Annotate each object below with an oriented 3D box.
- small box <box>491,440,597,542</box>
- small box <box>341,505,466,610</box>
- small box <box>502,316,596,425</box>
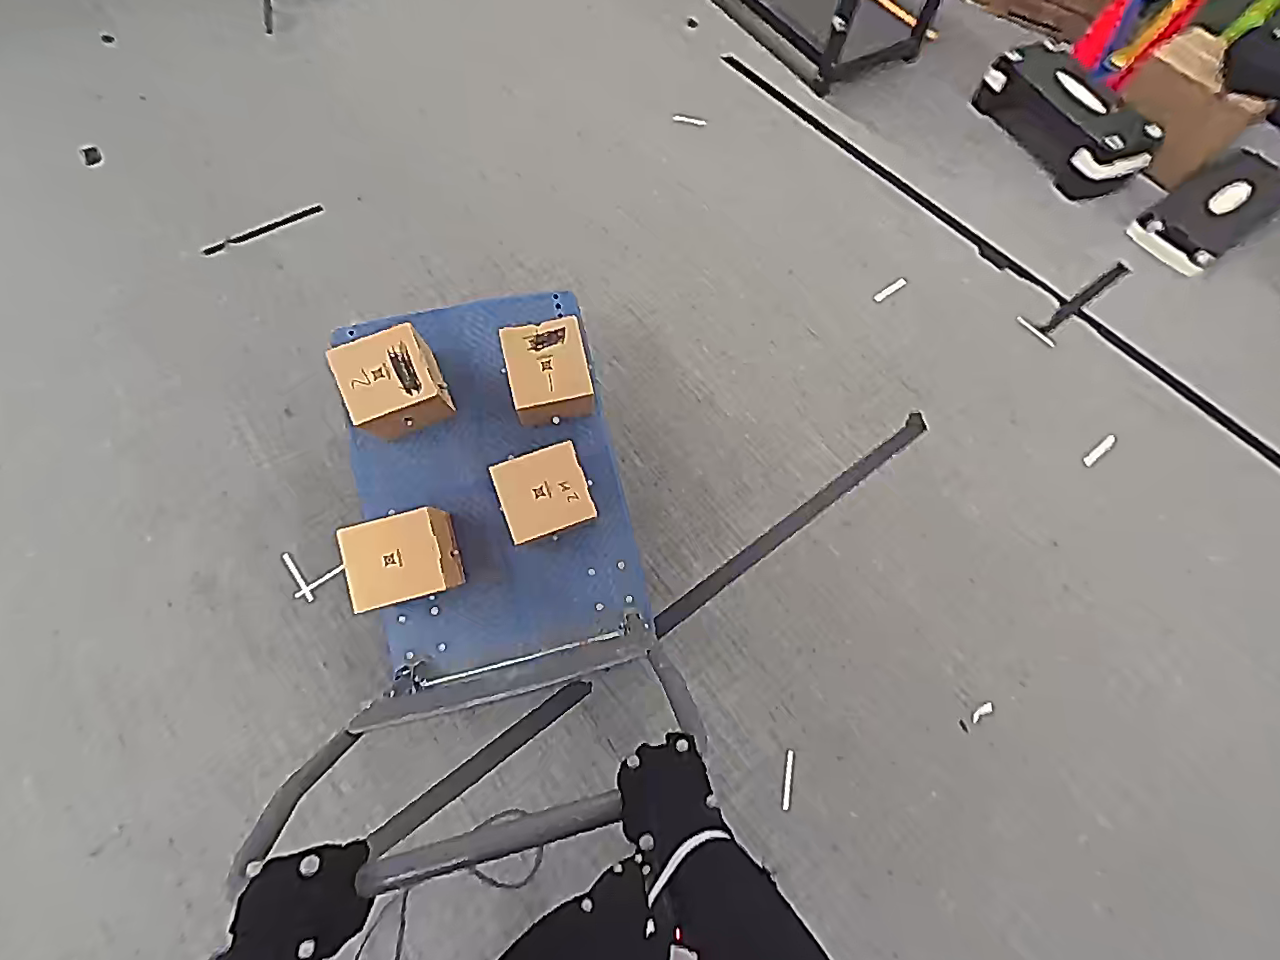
[{"bbox_3d":[-0.197,0.031,1.157,0.179,0.176,0.168,-19,85,-7],"label":"small box"},{"bbox_3d":[-0.479,0.160,1.114,0.179,0.176,0.168,-15,84,-9],"label":"small box"},{"bbox_3d":[-0.197,-0.236,1.193,0.168,0.176,0.179,-13,85,-7],"label":"small box"}]
